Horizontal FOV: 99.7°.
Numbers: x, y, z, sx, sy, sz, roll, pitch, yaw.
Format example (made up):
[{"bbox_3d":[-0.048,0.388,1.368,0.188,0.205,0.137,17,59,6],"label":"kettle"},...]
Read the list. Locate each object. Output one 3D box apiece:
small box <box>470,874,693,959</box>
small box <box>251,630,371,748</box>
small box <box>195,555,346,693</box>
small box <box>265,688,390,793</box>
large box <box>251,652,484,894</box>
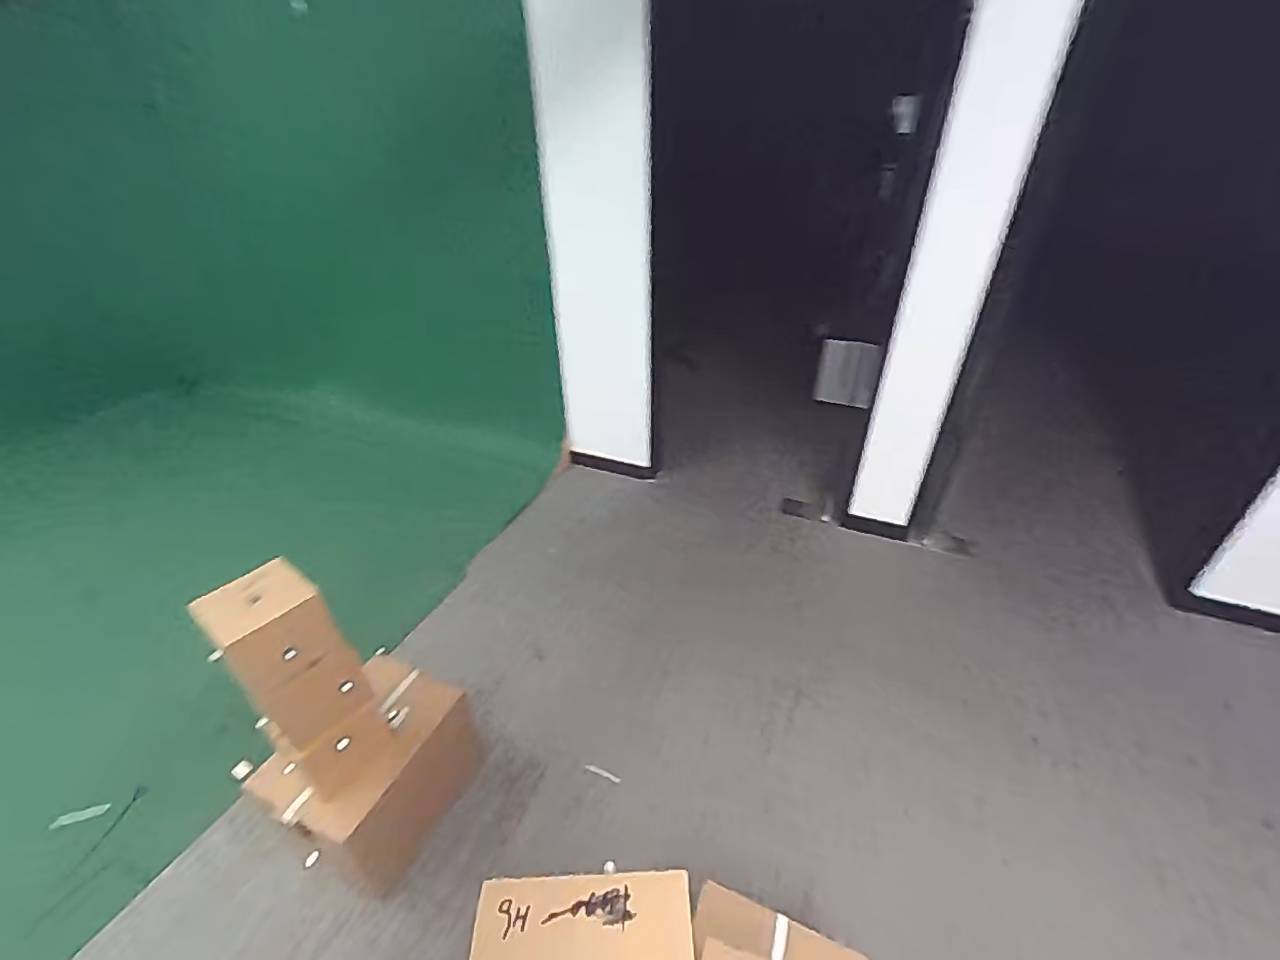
[{"bbox_3d":[-0.039,0.434,0.416,0.168,0.176,0.179,-2,40,-1],"label":"small box"},{"bbox_3d":[-0.703,0.422,1.155,0.168,0.176,0.179,22,41,32],"label":"small box"},{"bbox_3d":[-0.716,0.285,1.064,0.179,0.176,0.168,23,40,32],"label":"small box"},{"bbox_3d":[-0.701,0.563,1.236,0.168,0.176,0.179,20,39,29],"label":"small box"},{"bbox_3d":[-0.672,0.740,1.407,0.320,0.320,0.408,13,35,19],"label":"large box"}]
